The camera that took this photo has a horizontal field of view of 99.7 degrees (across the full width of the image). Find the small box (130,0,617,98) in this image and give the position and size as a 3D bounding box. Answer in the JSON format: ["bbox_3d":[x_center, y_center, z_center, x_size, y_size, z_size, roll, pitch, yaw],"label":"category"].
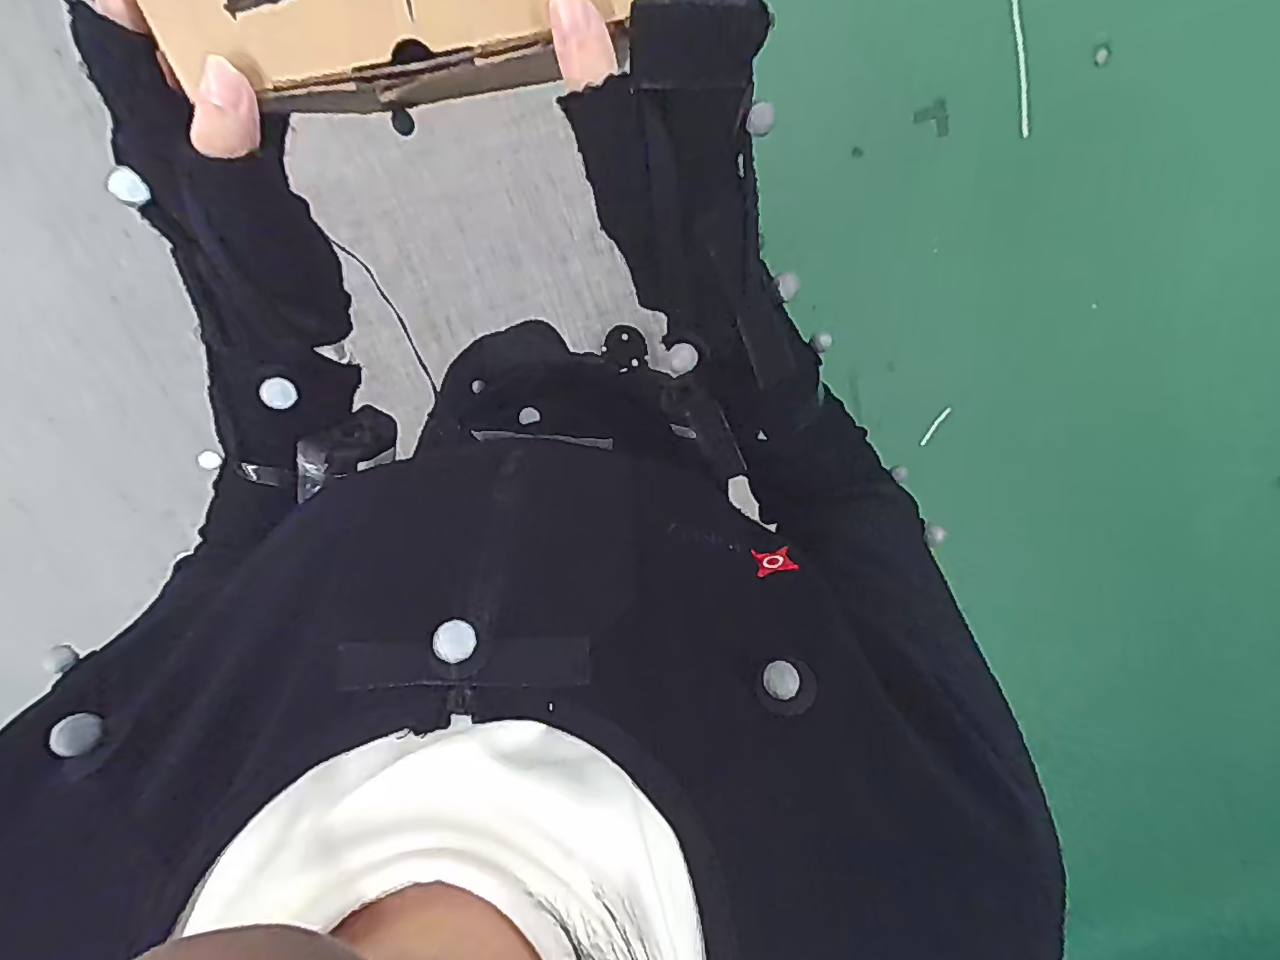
[{"bbox_3d":[-0.102,-0.266,0.212,0.168,0.176,0.179,-9,122,3],"label":"small box"}]

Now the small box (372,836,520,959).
[{"bbox_3d":[-0.330,0.787,0.963,0.168,0.176,0.179,-20,104,4],"label":"small box"}]
